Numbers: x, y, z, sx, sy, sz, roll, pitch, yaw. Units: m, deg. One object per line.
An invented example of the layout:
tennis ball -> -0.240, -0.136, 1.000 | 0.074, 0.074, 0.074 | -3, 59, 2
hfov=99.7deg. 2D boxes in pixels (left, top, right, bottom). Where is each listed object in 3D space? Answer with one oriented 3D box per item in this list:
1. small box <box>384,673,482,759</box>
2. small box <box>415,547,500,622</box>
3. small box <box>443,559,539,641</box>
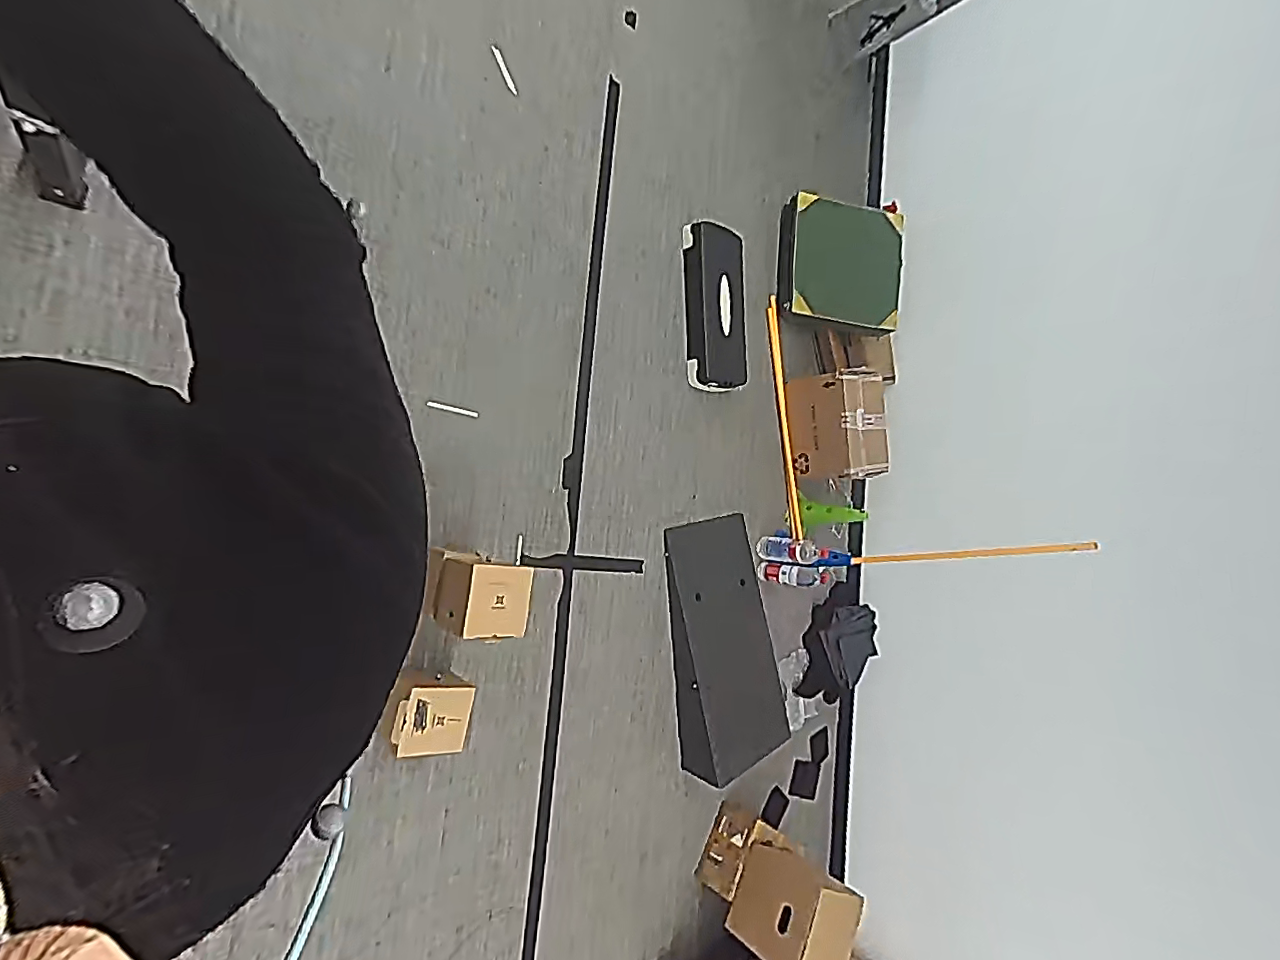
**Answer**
small box -> -0.549, 0.613, 1.422 | 0.179, 0.176, 0.168 | 18, 78, -41
small box -> -0.495, 0.288, 1.473 | 0.168, 0.176, 0.179 | 18, 78, -40
small box -> -0.378, 0.298, 1.357 | 0.168, 0.176, 0.179 | 12, 81, -41
